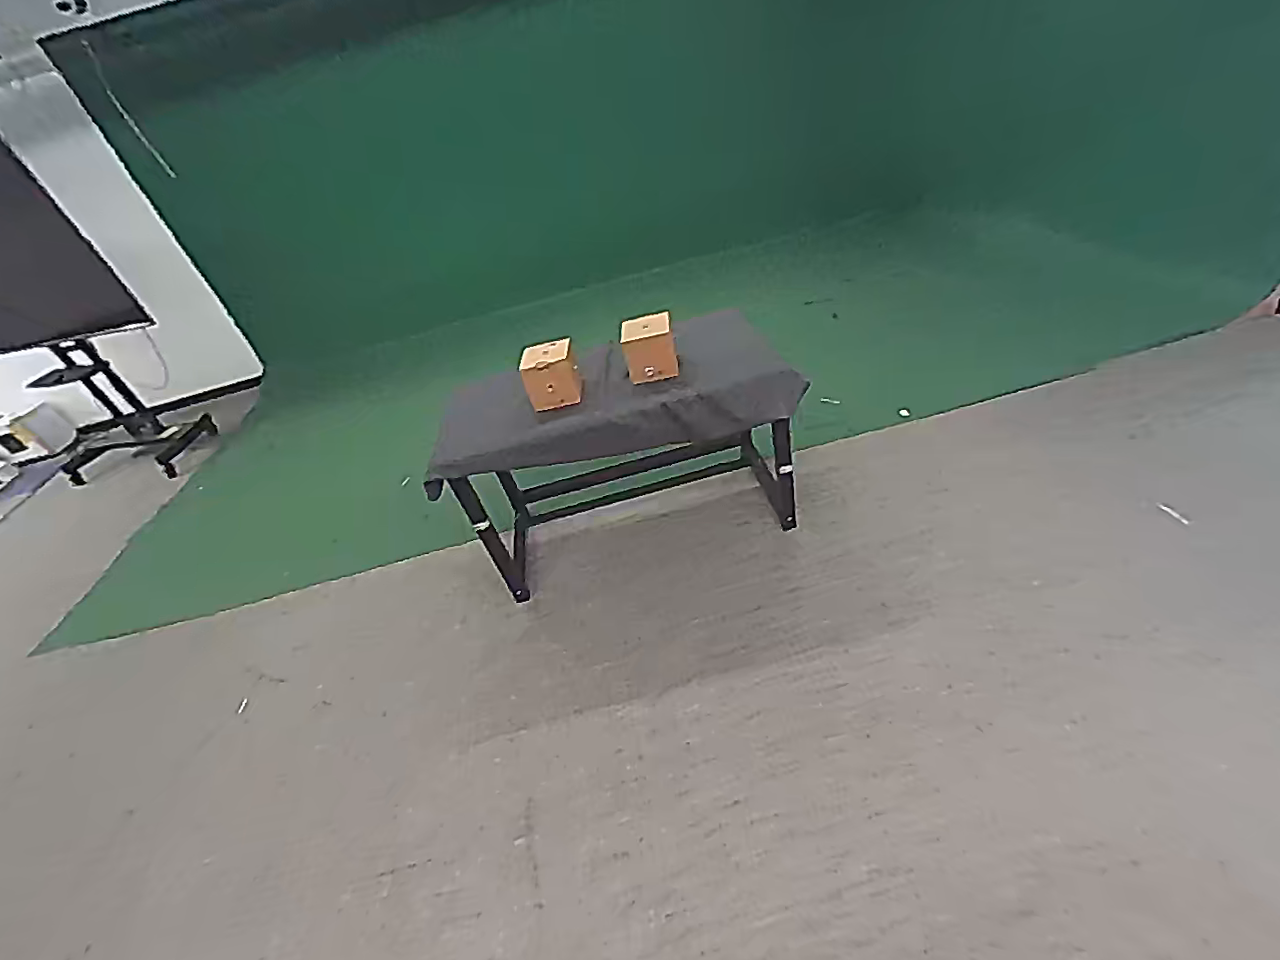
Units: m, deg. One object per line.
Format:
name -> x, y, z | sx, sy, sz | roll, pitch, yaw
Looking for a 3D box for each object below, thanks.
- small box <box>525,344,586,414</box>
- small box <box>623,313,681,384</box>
small box -> -0.291, -0.348, 1.899 | 0.168, 0.176, 0.179 | -14, 36, 4
small box -> 0.046, -0.457, 1.881 | 0.168, 0.176, 0.179 | -11, 37, 11
